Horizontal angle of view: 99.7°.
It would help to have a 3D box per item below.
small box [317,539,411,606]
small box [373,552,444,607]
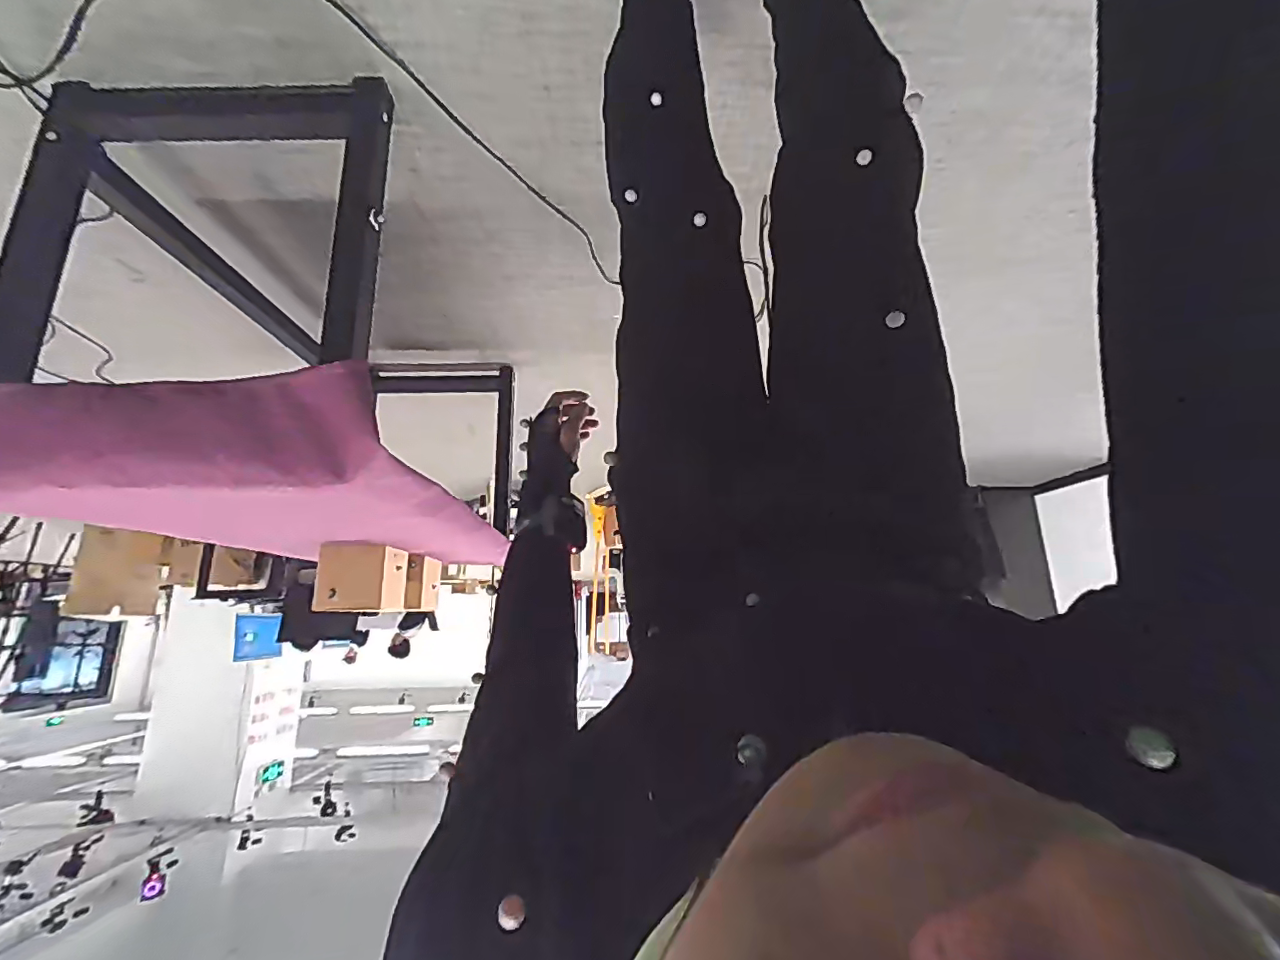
[{"bbox_3d":[-0.747,0.256,1.481,0.179,0.176,0.168,0,167,-3],"label":"small box"},{"bbox_3d":[-0.736,0.317,1.729,0.168,0.176,0.179,0,167,-3],"label":"small box"}]
